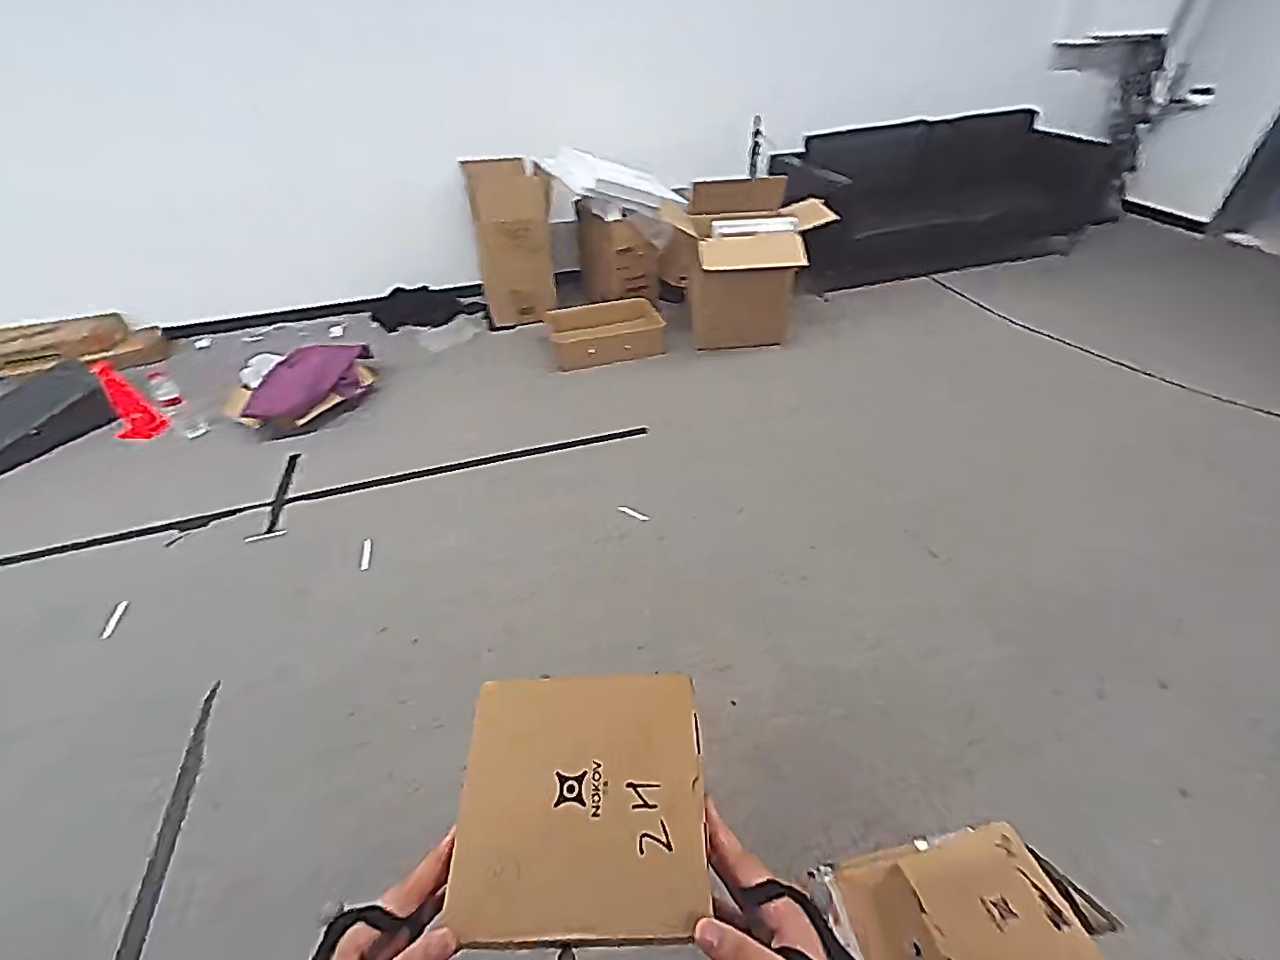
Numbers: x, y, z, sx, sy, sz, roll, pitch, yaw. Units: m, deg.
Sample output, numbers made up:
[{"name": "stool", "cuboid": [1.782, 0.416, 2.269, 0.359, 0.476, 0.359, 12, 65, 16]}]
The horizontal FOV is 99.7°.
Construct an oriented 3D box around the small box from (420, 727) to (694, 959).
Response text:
[{"name": "small box", "cuboid": [-0.049, 0.311, 0.434, 0.179, 0.176, 0.168, -2, 49, 1]}]
